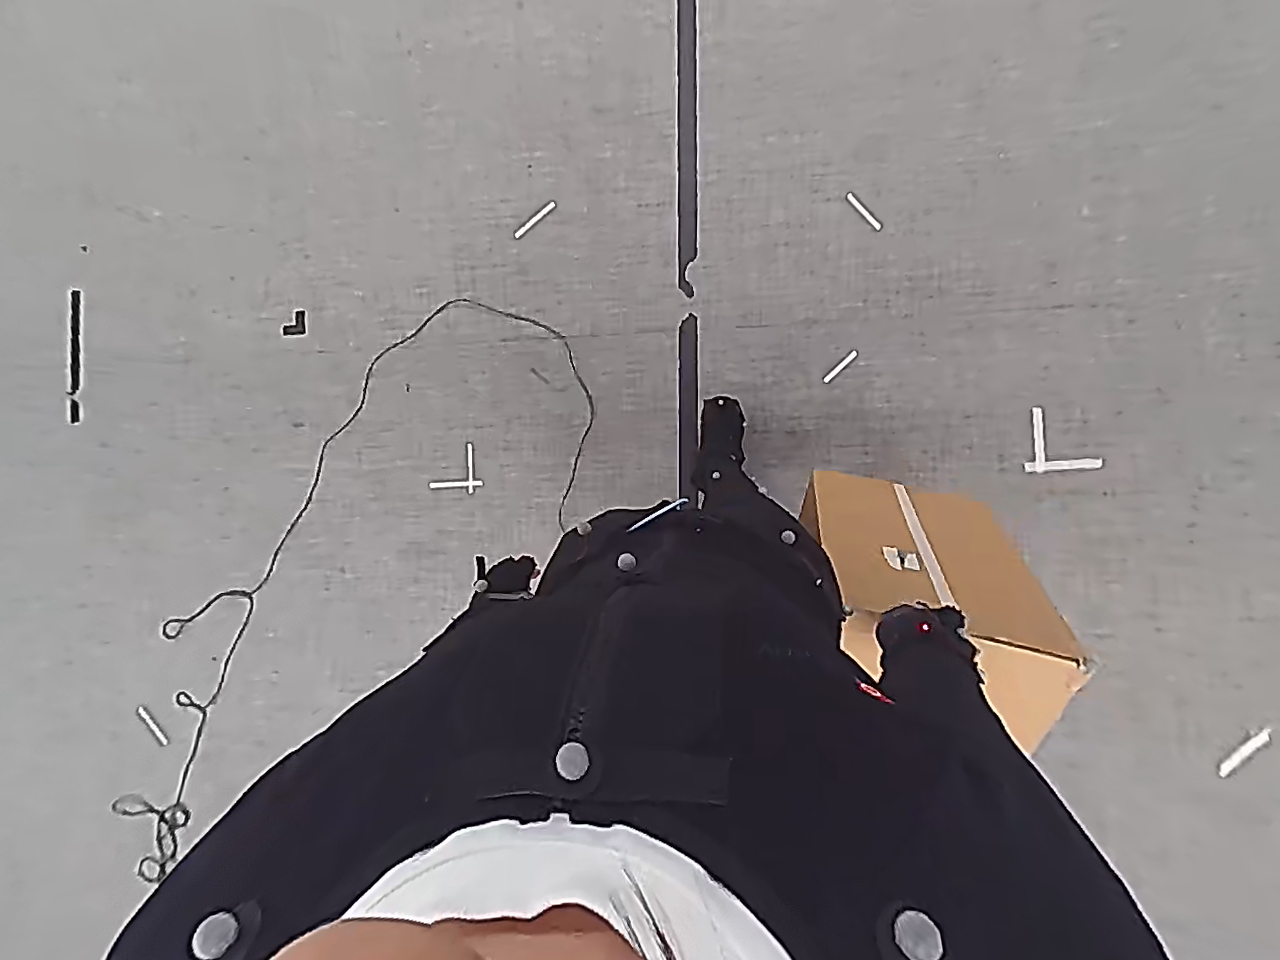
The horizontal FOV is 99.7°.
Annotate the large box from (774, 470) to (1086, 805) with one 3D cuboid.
[{"bbox_3d":[0.416,0.232,0.912,0.320,0.408,0.320,11,120,9],"label":"large box"}]
